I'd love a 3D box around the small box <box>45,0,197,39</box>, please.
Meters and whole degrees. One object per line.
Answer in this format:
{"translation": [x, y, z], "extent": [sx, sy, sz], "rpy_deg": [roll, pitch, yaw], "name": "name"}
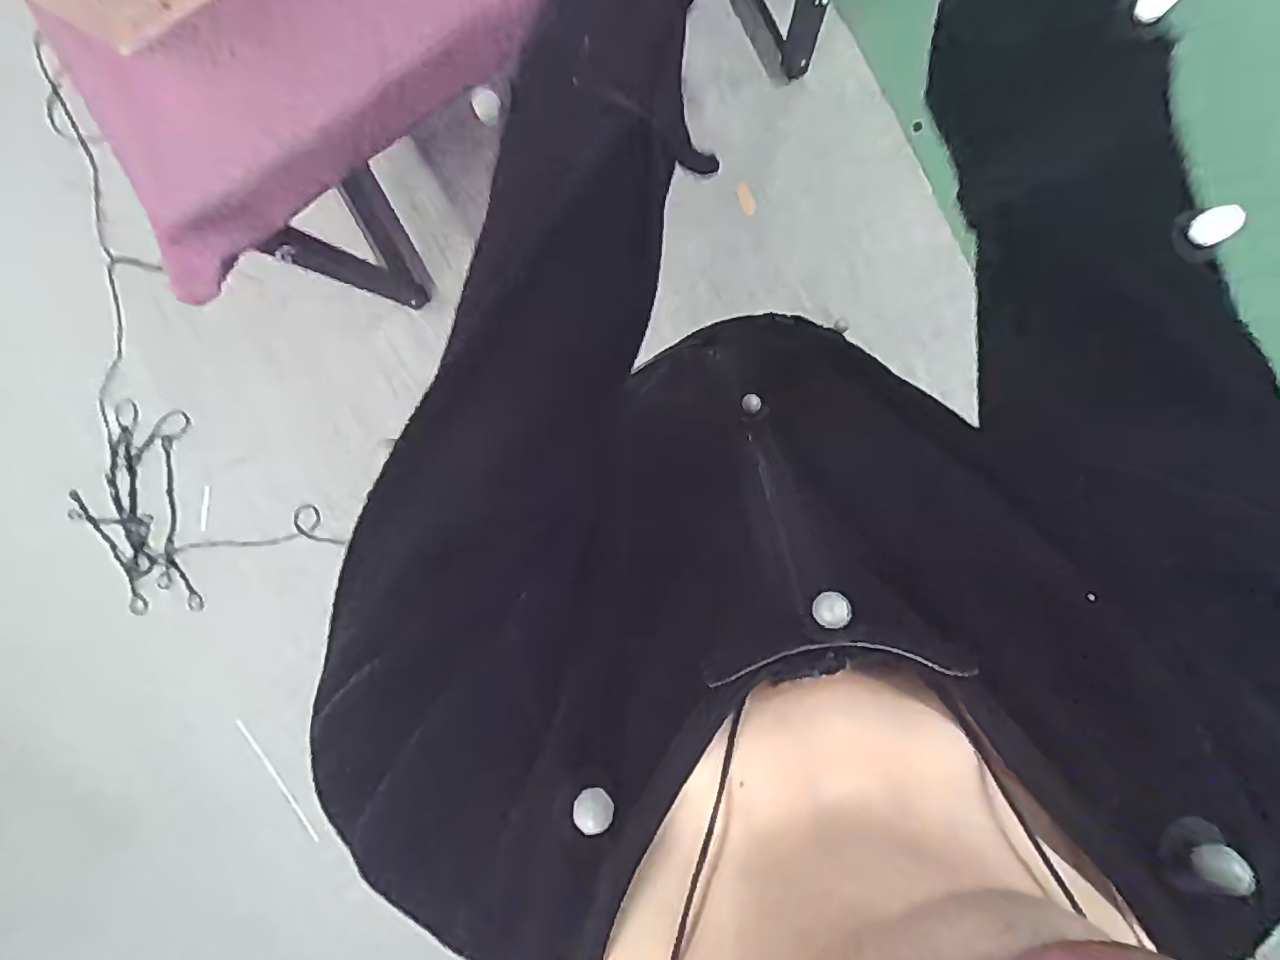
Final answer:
{"translation": [-0.704, -0.706, 0.673], "extent": [0.168, 0.176, 0.179], "rpy_deg": [-25, 93, 8], "name": "small box"}
